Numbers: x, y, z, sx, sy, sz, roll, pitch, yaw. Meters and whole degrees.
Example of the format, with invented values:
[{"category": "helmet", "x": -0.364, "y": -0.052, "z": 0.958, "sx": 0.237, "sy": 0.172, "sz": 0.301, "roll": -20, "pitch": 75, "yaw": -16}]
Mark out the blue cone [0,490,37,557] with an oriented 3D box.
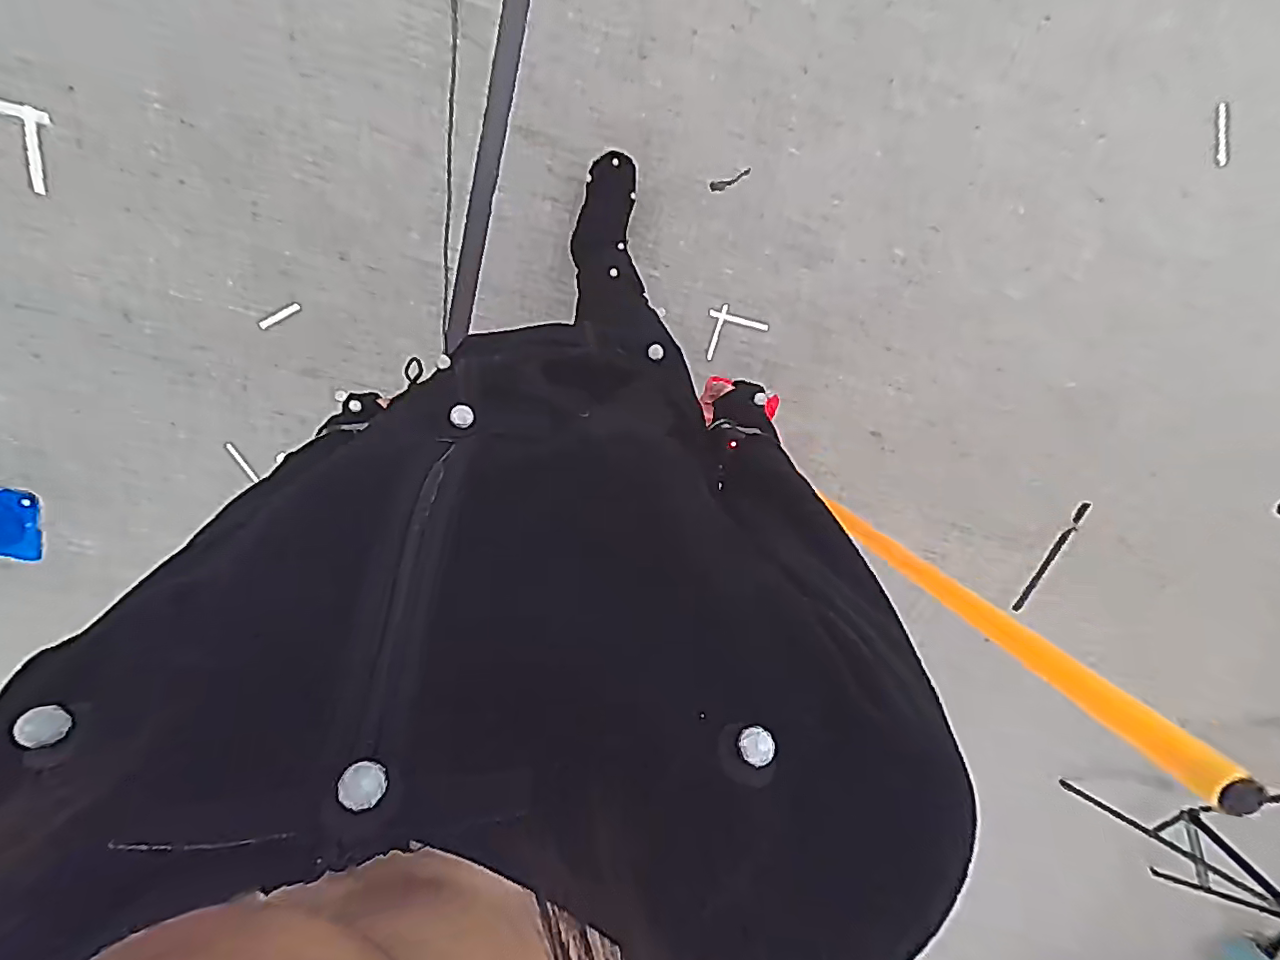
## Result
[{"category": "blue cone", "x": -1.596, "y": 0.158, "z": 1.193, "sx": 0.193, "sy": 0.380, "sz": 0.192, "roll": 17, "pitch": 109, "yaw": -12}]
